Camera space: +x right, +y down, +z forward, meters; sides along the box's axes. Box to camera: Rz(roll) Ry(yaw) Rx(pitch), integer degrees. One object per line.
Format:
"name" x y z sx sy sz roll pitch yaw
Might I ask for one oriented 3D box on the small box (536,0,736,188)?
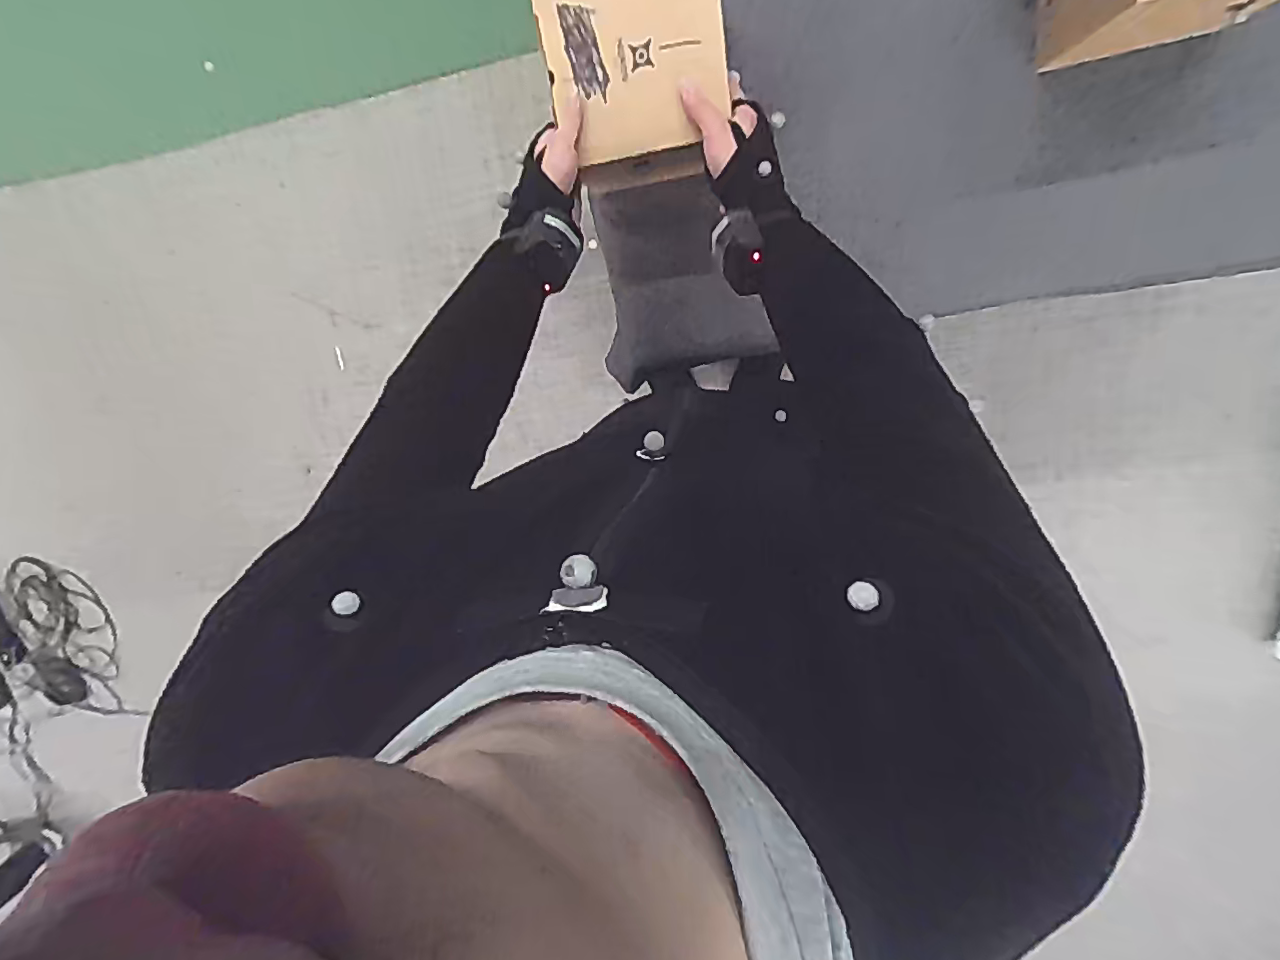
"small box" 0.006 -0.426 0.578 0.179 0.176 0.168 -6 110 9

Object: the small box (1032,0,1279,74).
"small box" 0.500 -0.509 0.490 0.179 0.176 0.168 -7 109 11
